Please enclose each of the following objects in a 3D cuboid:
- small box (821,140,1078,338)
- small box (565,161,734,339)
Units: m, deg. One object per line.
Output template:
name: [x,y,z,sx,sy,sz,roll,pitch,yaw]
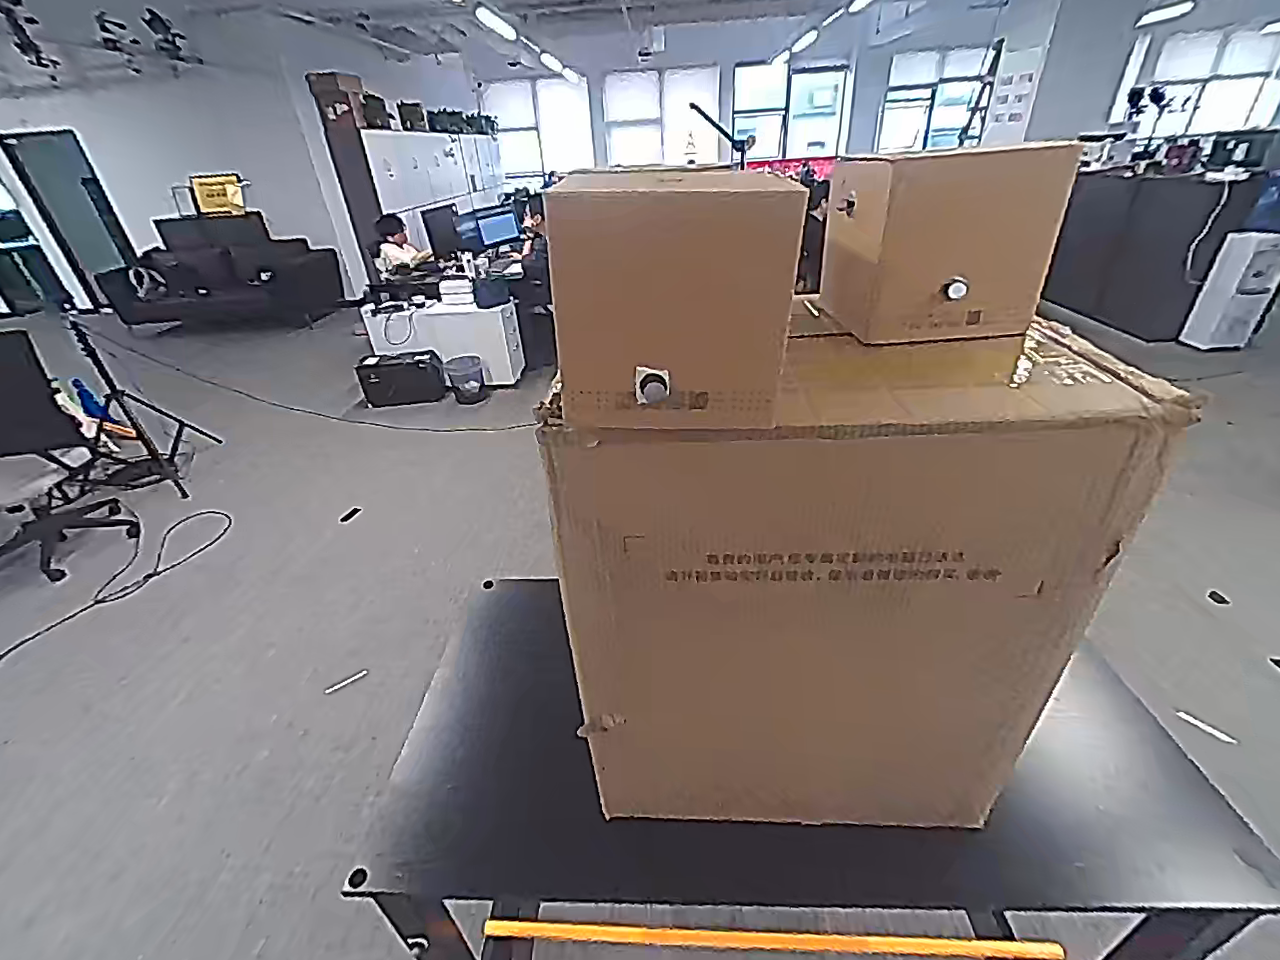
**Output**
small box: [0.303,-0.258,0.581,0.168,0.176,0.179,-4,31,2]
small box: [0.012,-0.267,0.627,0.168,0.176,0.179,-2,30,2]
